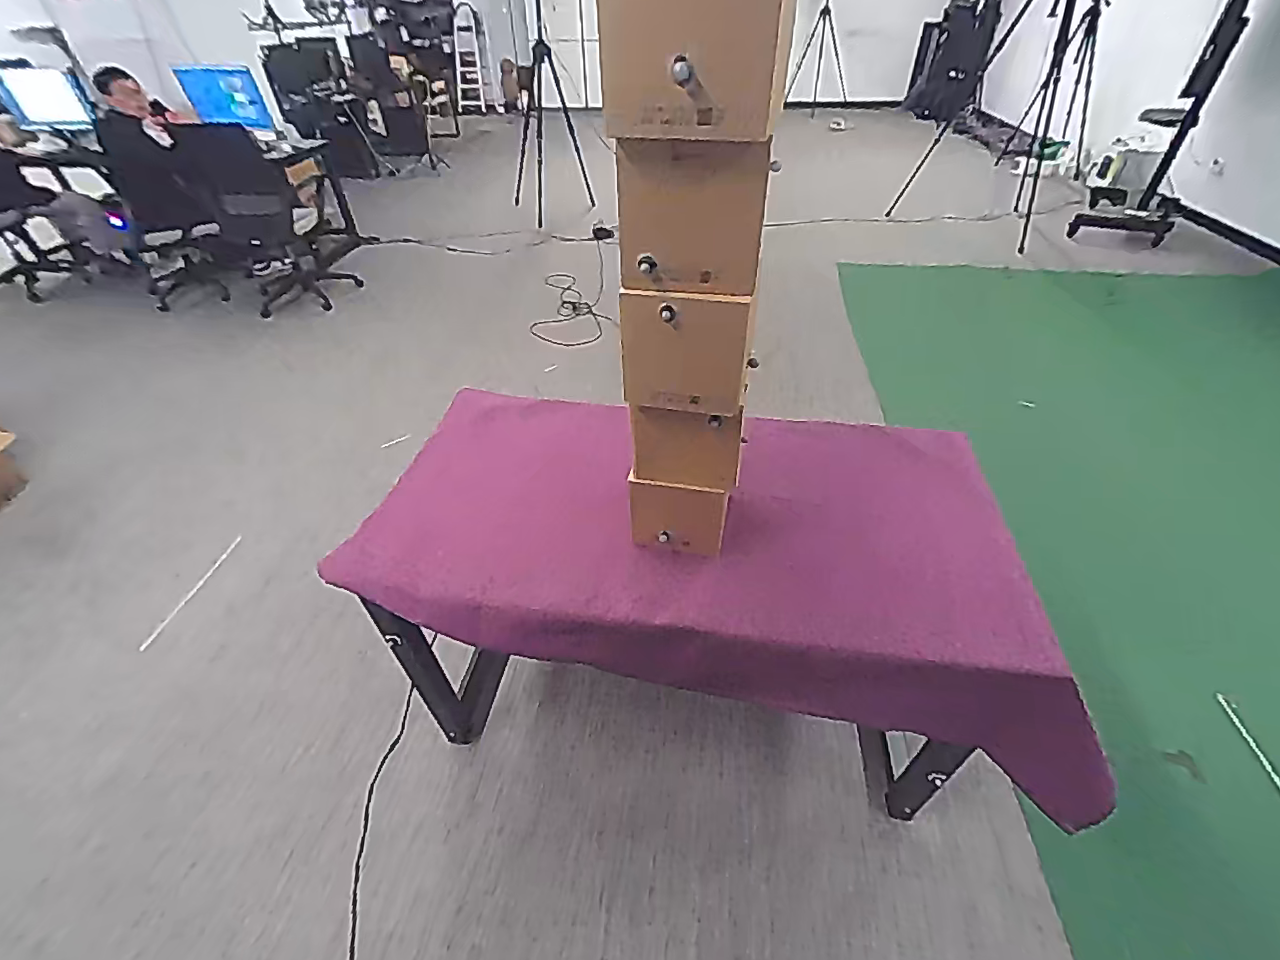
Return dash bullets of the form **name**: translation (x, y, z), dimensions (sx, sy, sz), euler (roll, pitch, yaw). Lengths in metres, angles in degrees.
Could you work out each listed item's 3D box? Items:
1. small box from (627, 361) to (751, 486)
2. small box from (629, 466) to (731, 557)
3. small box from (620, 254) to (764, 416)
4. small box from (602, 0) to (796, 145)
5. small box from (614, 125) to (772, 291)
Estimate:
- **small box**: translation (0.084, -0.107, 0.891), dimensions (0.179, 0.176, 0.168), euler (7, 43, 10)
- **small box**: translation (0.081, 0.014, 0.999), dimensions (0.168, 0.176, 0.179), euler (7, 43, 11)
- **small box**: translation (0.075, -0.213, 0.765), dimensions (0.168, 0.176, 0.179), euler (8, 42, 12)
- **small box**: translation (0.062, -0.450, 0.537), dimensions (0.168, 0.176, 0.179), euler (9, 44, 13)
- **small box**: translation (0.070, -0.345, 0.666), dimensions (0.168, 0.176, 0.179), euler (6, 42, 9)
